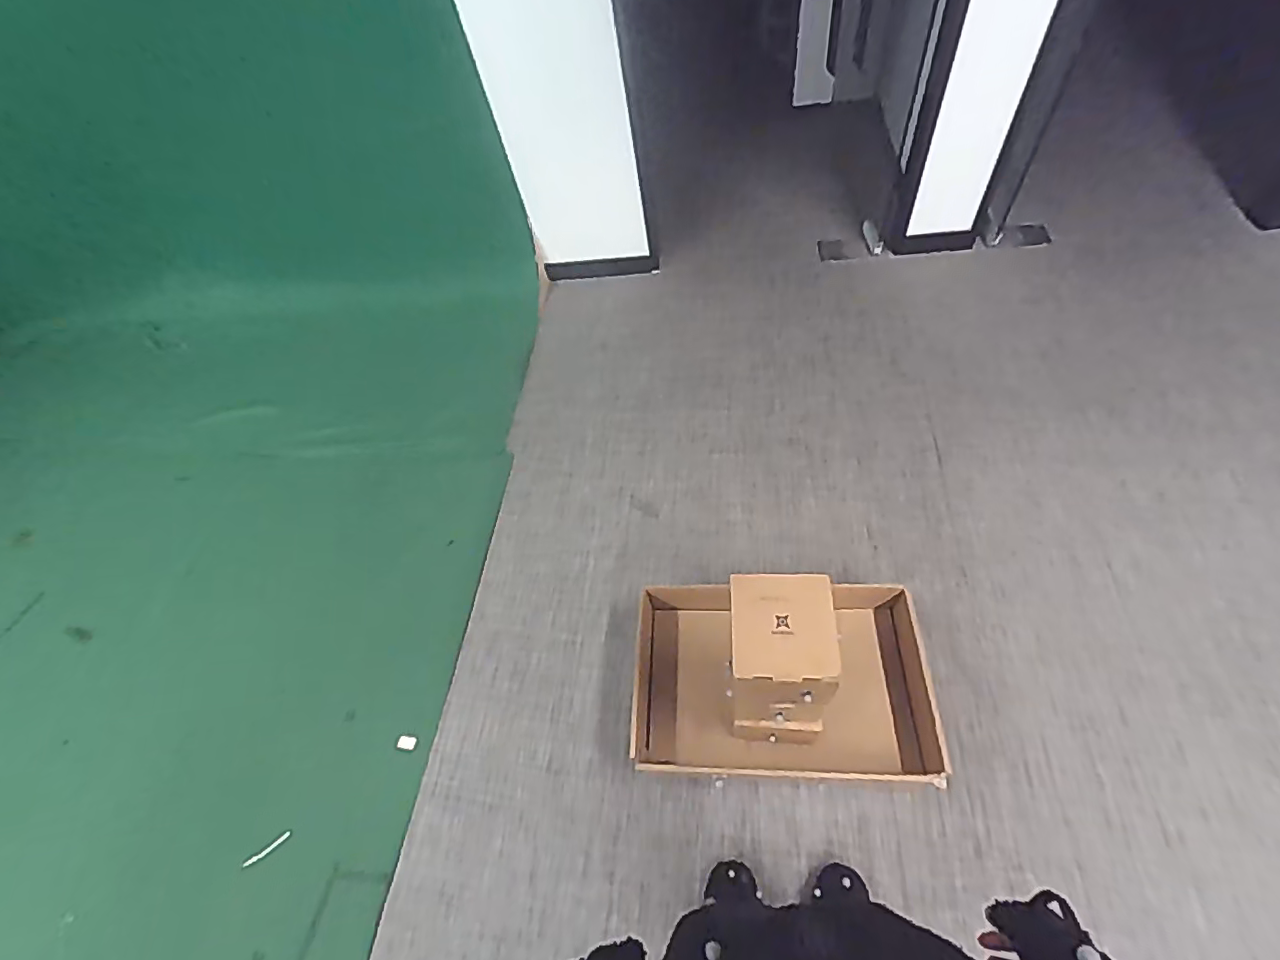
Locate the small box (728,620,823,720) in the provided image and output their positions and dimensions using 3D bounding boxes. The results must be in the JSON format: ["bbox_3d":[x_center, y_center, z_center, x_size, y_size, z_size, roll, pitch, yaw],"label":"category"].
[{"bbox_3d":[0.268,0.380,1.091,0.168,0.176,0.179,-5,55,9],"label":"small box"}]

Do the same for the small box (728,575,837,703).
[{"bbox_3d":[0.239,0.280,0.943,0.168,0.176,0.179,-1,55,9],"label":"small box"}]

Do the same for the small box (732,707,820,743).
[{"bbox_3d":[0.299,0.483,1.211,0.179,0.176,0.168,0,55,12],"label":"small box"}]
